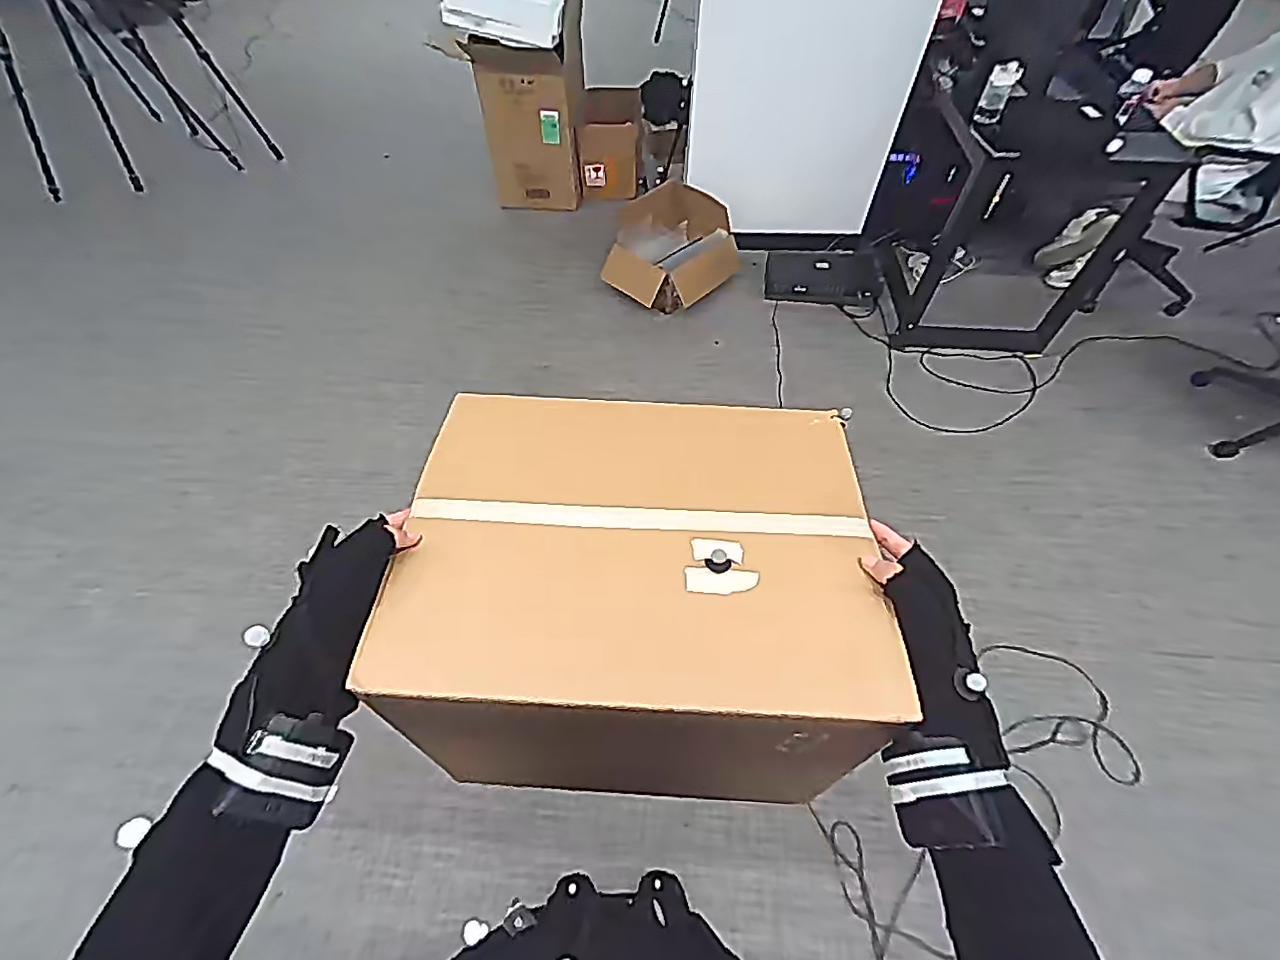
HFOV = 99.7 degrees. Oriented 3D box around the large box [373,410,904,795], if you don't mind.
[{"bbox_3d":[-0.001,0.143,0.606,0.408,0.320,0.320,3,50,1],"label":"large box"}]
